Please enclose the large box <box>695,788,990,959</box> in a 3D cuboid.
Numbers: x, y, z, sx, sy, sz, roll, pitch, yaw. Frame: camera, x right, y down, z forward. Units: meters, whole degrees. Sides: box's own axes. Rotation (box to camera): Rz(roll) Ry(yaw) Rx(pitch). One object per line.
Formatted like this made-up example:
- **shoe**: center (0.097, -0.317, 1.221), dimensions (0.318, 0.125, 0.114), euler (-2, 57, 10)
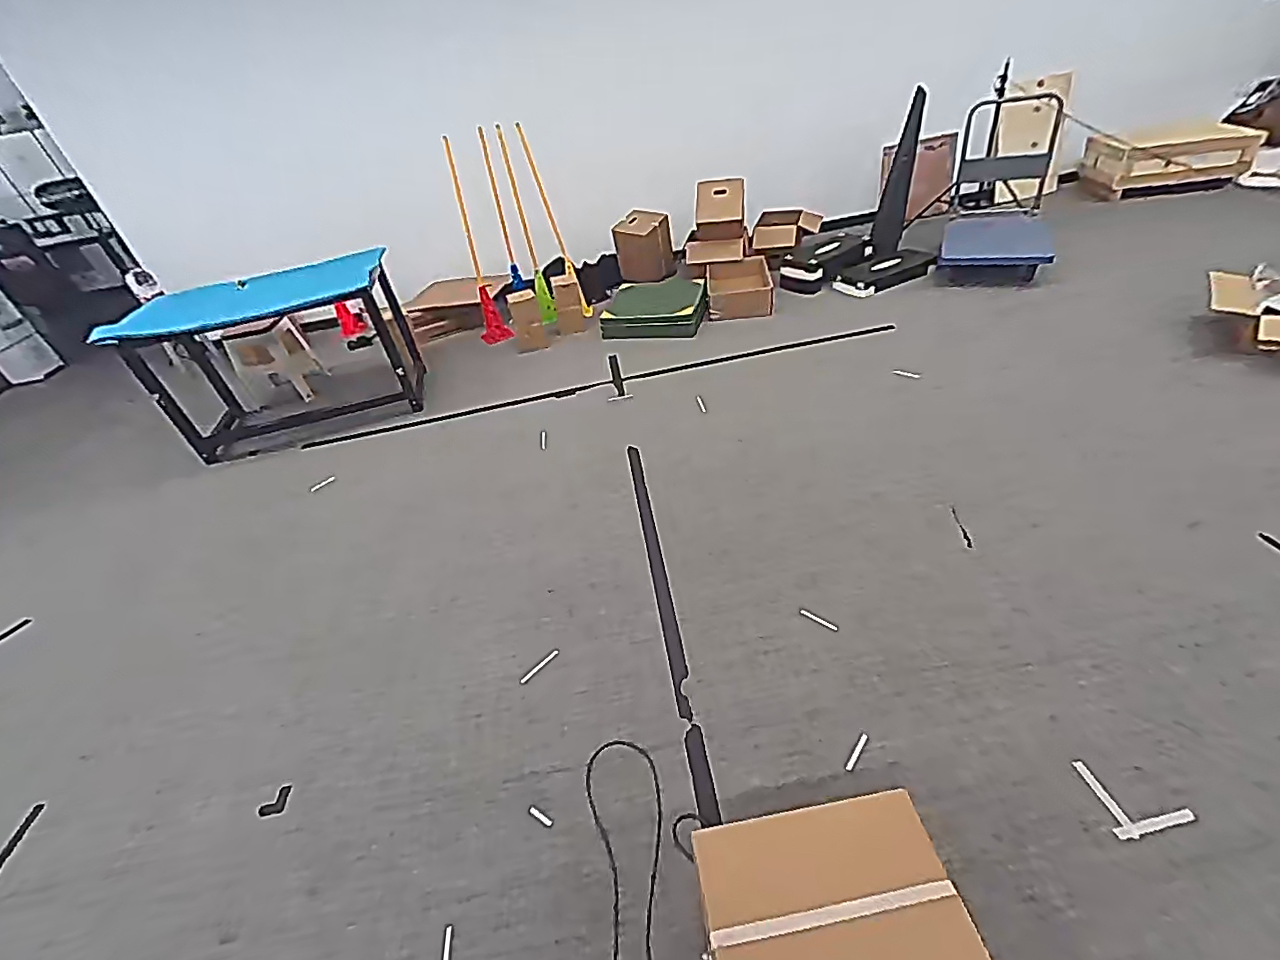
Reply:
- **large box**: center (0.335, 0.812, 0.963), dimensions (0.408, 0.320, 0.320), euler (-11, 38, -2)
